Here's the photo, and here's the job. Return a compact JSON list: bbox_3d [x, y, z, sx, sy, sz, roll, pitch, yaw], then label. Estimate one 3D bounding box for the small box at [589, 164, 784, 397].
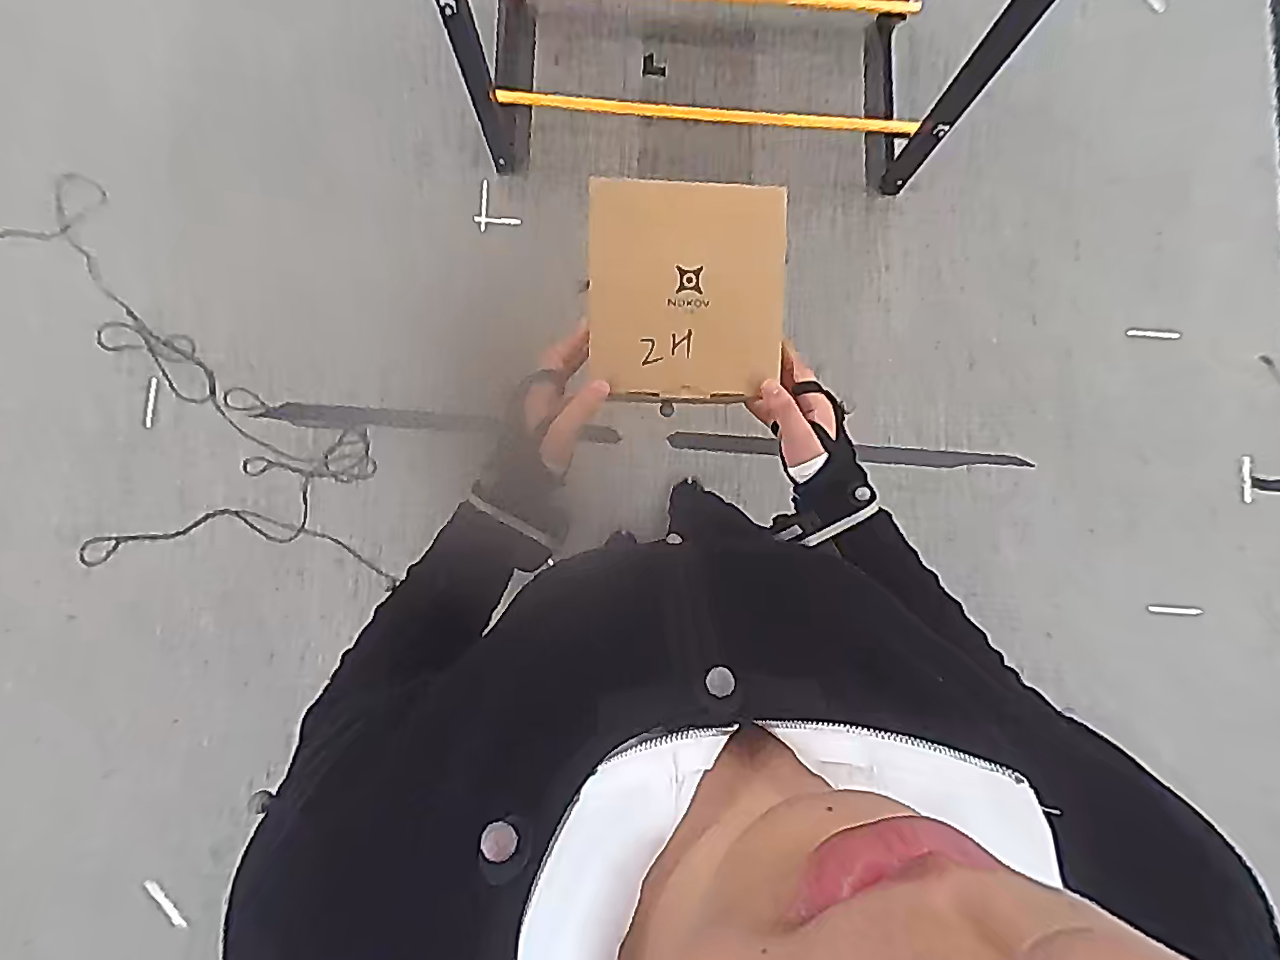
[{"bbox_3d":[0.033,-0.179,0.536,0.168,0.176,0.179,0,95,-4],"label":"small box"}]
